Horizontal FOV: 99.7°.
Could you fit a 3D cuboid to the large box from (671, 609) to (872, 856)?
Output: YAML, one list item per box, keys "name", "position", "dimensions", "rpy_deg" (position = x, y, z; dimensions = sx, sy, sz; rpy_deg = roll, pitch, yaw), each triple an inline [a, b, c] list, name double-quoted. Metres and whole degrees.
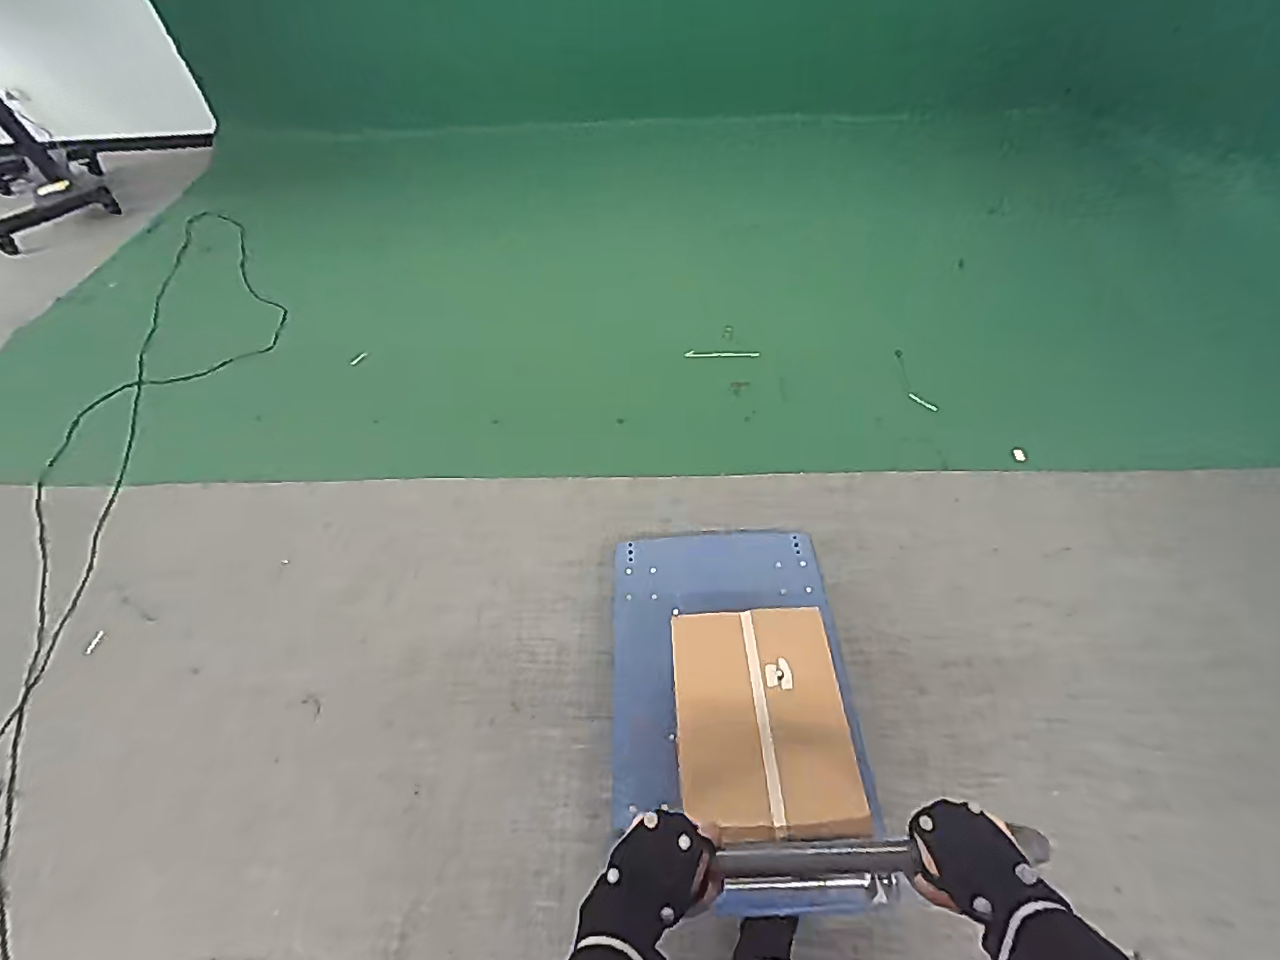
- name: "large box"
  position: [0.237, 0.528, 1.132]
  dimensions: [0.320, 0.320, 0.408]
  rpy_deg: [-3, 52, 1]
